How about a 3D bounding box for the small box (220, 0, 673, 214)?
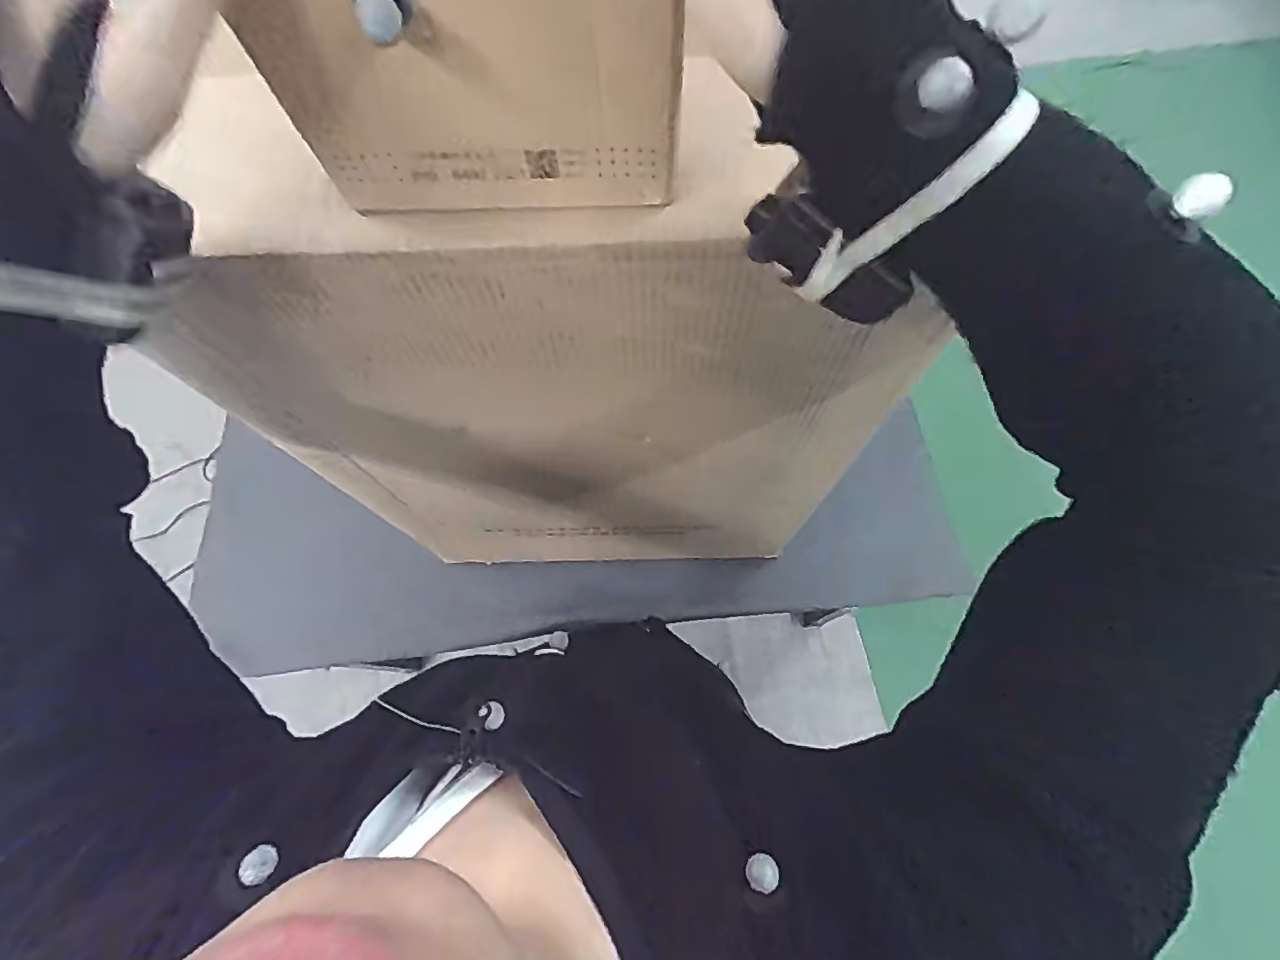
[{"bbox_3d":[-0.069,-0.240,0.234,0.168,0.176,0.179,-1,69,1],"label":"small box"}]
